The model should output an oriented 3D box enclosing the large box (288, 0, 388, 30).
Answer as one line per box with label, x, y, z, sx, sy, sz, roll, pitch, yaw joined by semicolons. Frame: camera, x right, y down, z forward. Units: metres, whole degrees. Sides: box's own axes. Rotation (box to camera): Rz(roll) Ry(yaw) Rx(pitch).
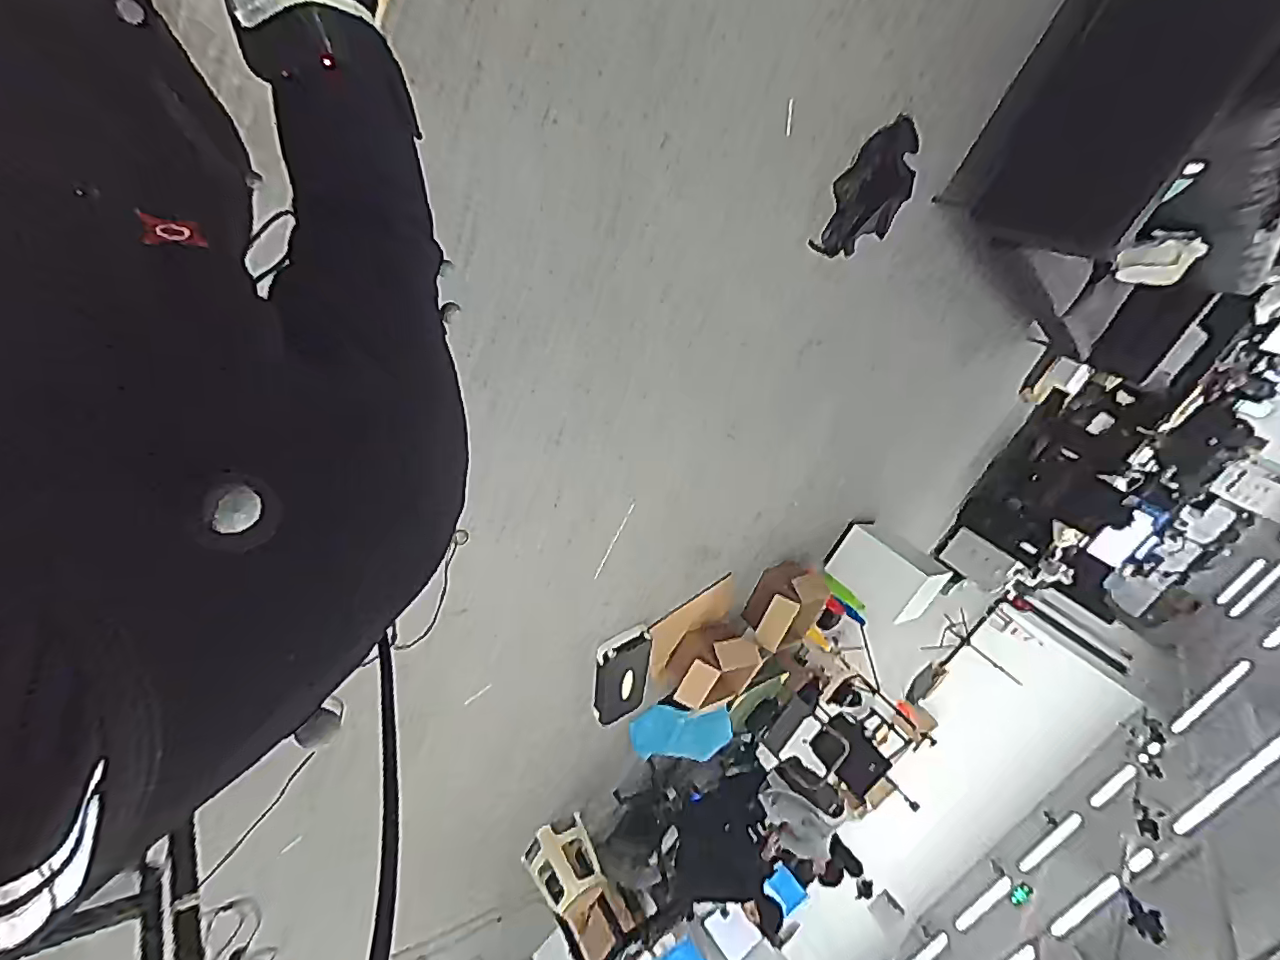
large box;-0.534;-0.866;0.675;0.408;0.320;0.320;7;119;-47
